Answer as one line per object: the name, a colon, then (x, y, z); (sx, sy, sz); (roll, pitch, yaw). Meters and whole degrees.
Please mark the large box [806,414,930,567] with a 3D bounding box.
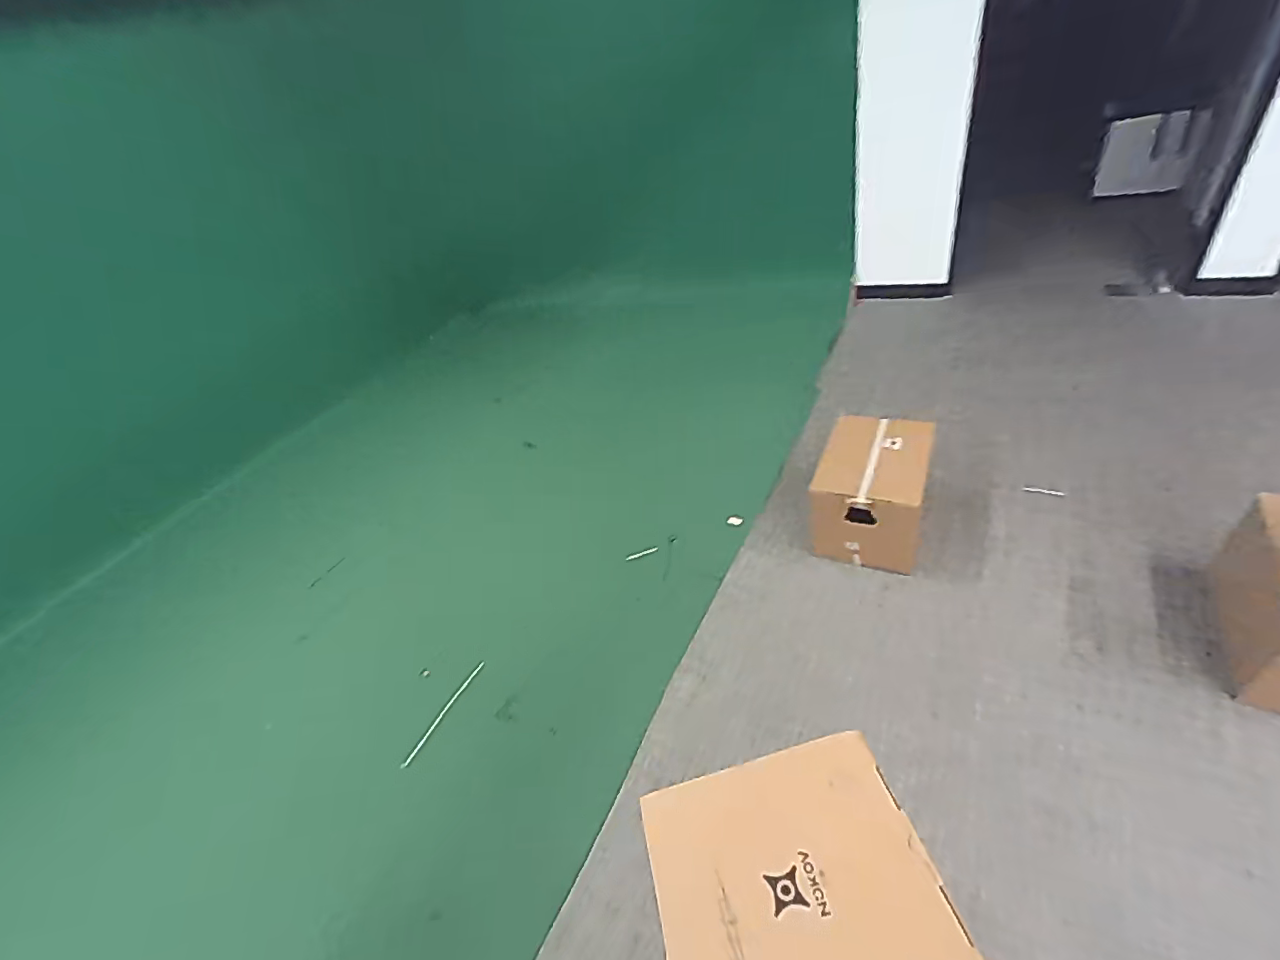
large box: (0.768, 0.027, 1.813); (0.320, 0.320, 0.408); (10, 46, 29)
